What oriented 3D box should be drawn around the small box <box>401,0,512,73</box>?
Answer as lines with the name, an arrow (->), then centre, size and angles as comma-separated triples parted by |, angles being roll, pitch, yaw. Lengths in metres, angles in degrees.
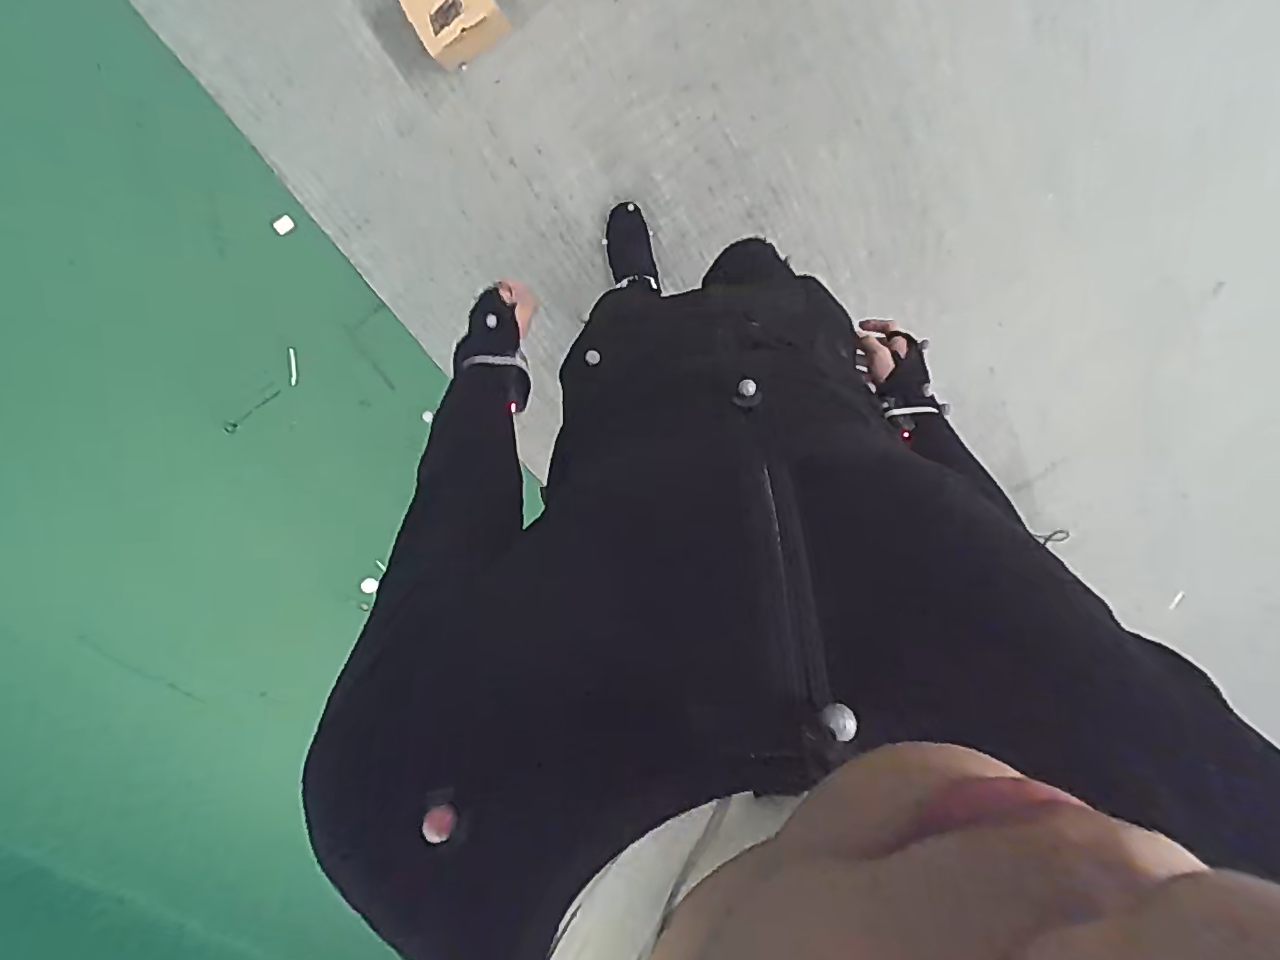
small box -> -0.389, -0.992, 1.130 | 0.168, 0.176, 0.179 | -27, 114, 10
